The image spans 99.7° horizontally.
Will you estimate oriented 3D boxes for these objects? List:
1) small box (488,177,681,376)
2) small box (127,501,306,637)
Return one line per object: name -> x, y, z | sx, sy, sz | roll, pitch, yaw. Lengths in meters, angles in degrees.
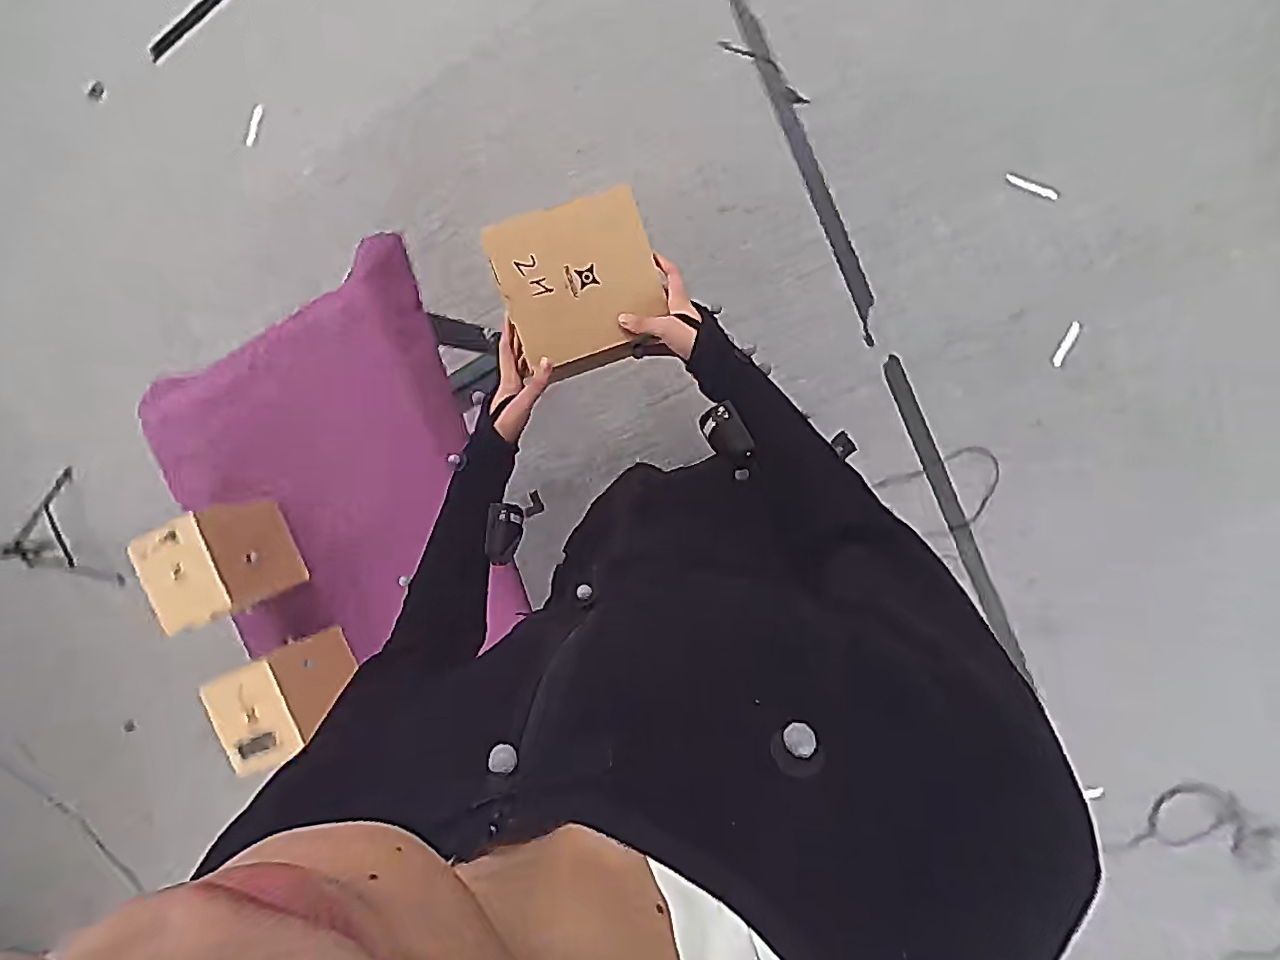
small box -> -0.067, -0.235, 0.667 | 0.179, 0.176, 0.168 | -19, 97, -4
small box -> -0.769, 0.157, 1.000 | 0.168, 0.176, 0.179 | -23, 93, 13
